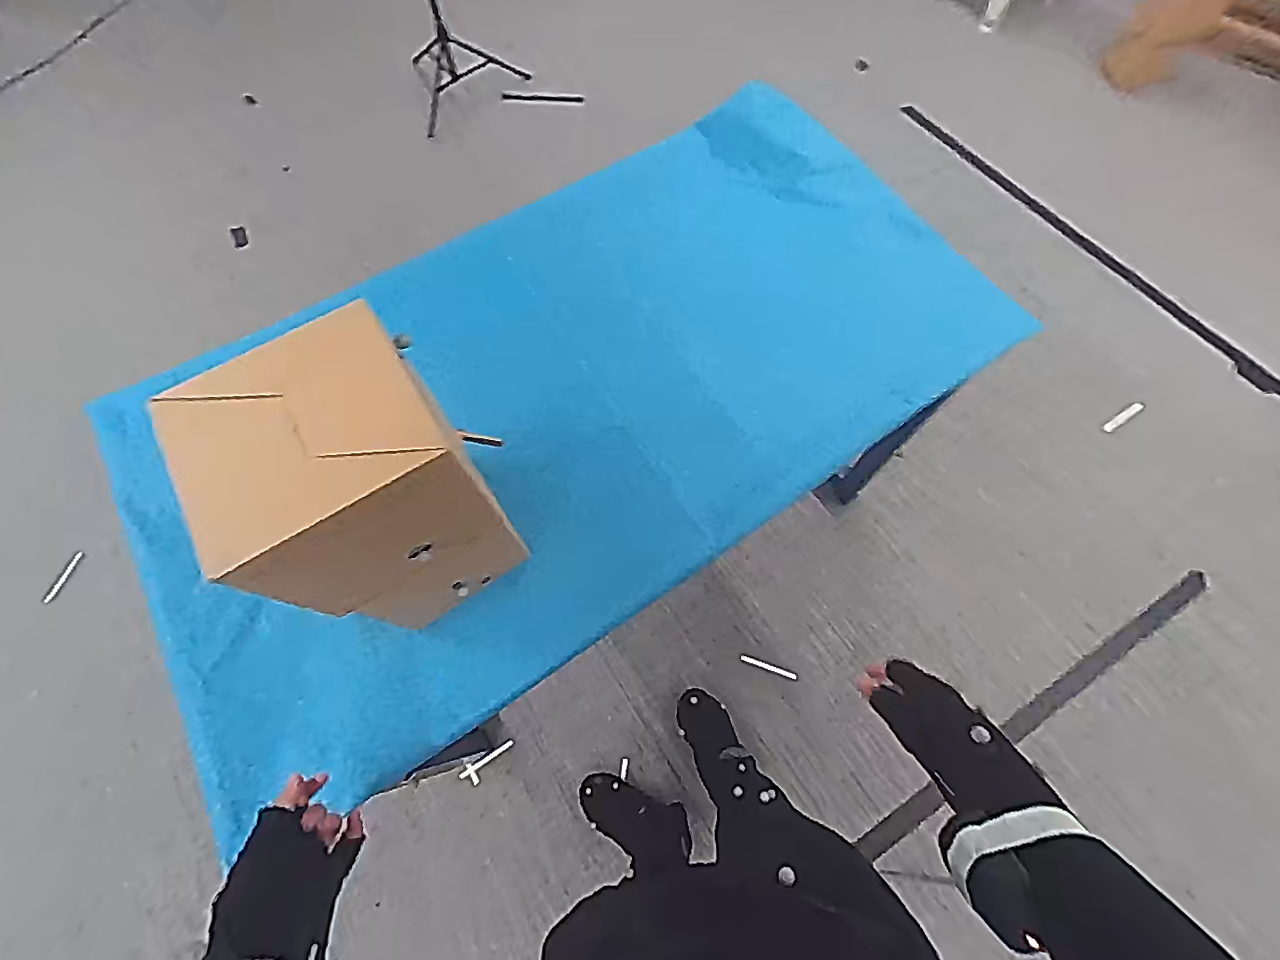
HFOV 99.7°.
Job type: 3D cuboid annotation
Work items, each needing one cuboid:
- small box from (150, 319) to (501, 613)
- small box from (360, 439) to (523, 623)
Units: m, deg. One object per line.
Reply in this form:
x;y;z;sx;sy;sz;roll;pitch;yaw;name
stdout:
-0.253;-0.009;0.470;0.179;0.176;0.168;-31;70;-11;small box
-0.259;0.046;0.628;0.168;0.176;0.179;-31;72;-9;small box
